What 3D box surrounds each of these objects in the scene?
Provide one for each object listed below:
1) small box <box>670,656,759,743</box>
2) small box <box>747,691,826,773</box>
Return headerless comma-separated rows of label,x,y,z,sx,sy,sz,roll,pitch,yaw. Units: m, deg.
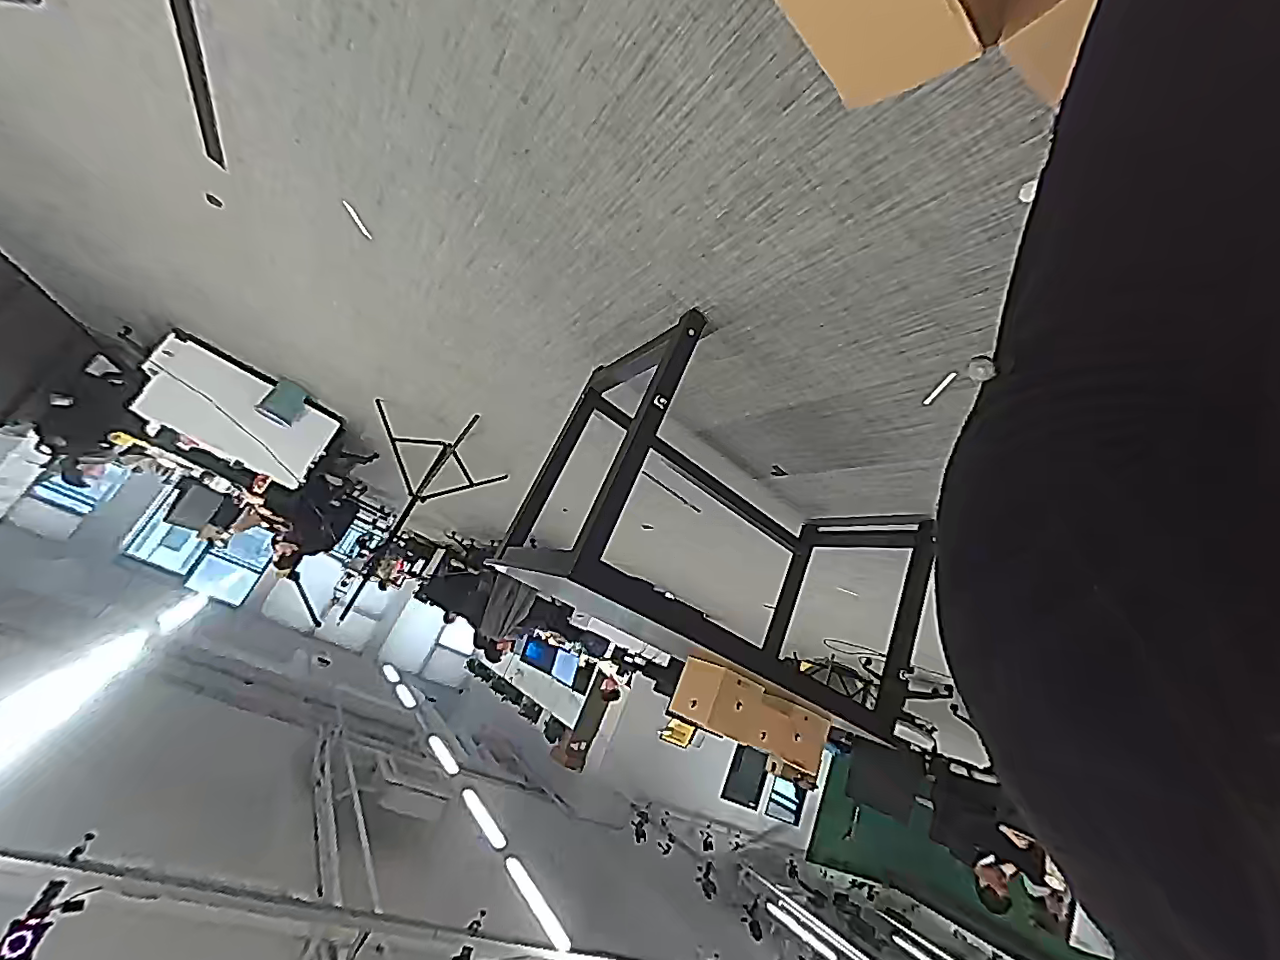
small box,0.221,0.627,1.561,0.168,0.176,0.179,34,159,-25
small box,0.456,0.779,1.689,0.168,0.176,0.179,33,161,-20
